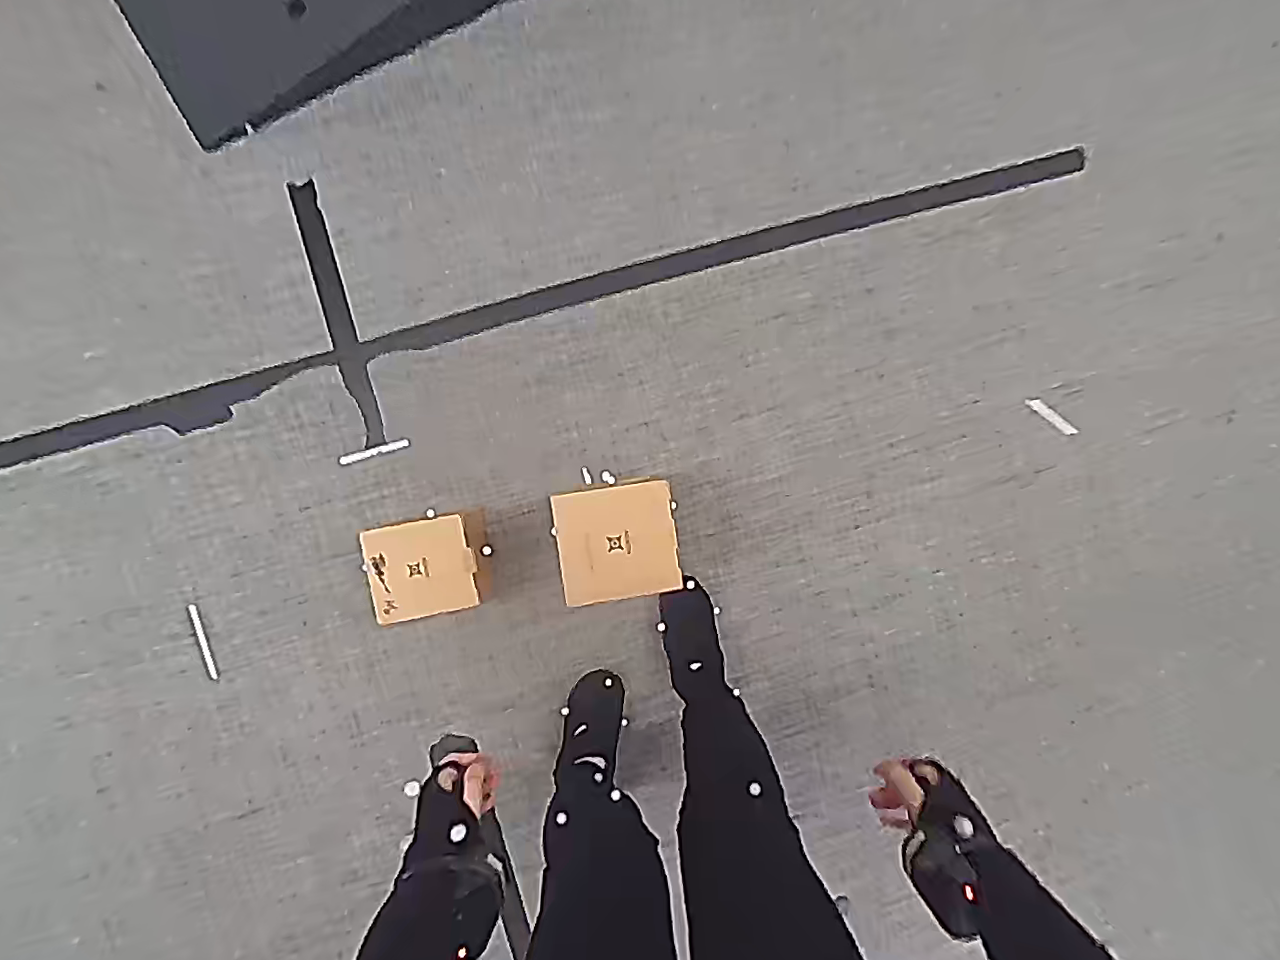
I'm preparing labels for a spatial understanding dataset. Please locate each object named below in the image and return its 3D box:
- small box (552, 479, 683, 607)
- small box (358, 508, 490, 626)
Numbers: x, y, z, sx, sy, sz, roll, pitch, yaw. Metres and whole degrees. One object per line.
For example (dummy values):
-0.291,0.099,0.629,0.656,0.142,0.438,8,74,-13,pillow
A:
-0.039,0.090,0.855,0.179,0.176,0.168,-8,91,-4,small box
-0.381,0.149,0.990,0.179,0.176,0.168,-10,93,-5,small box
